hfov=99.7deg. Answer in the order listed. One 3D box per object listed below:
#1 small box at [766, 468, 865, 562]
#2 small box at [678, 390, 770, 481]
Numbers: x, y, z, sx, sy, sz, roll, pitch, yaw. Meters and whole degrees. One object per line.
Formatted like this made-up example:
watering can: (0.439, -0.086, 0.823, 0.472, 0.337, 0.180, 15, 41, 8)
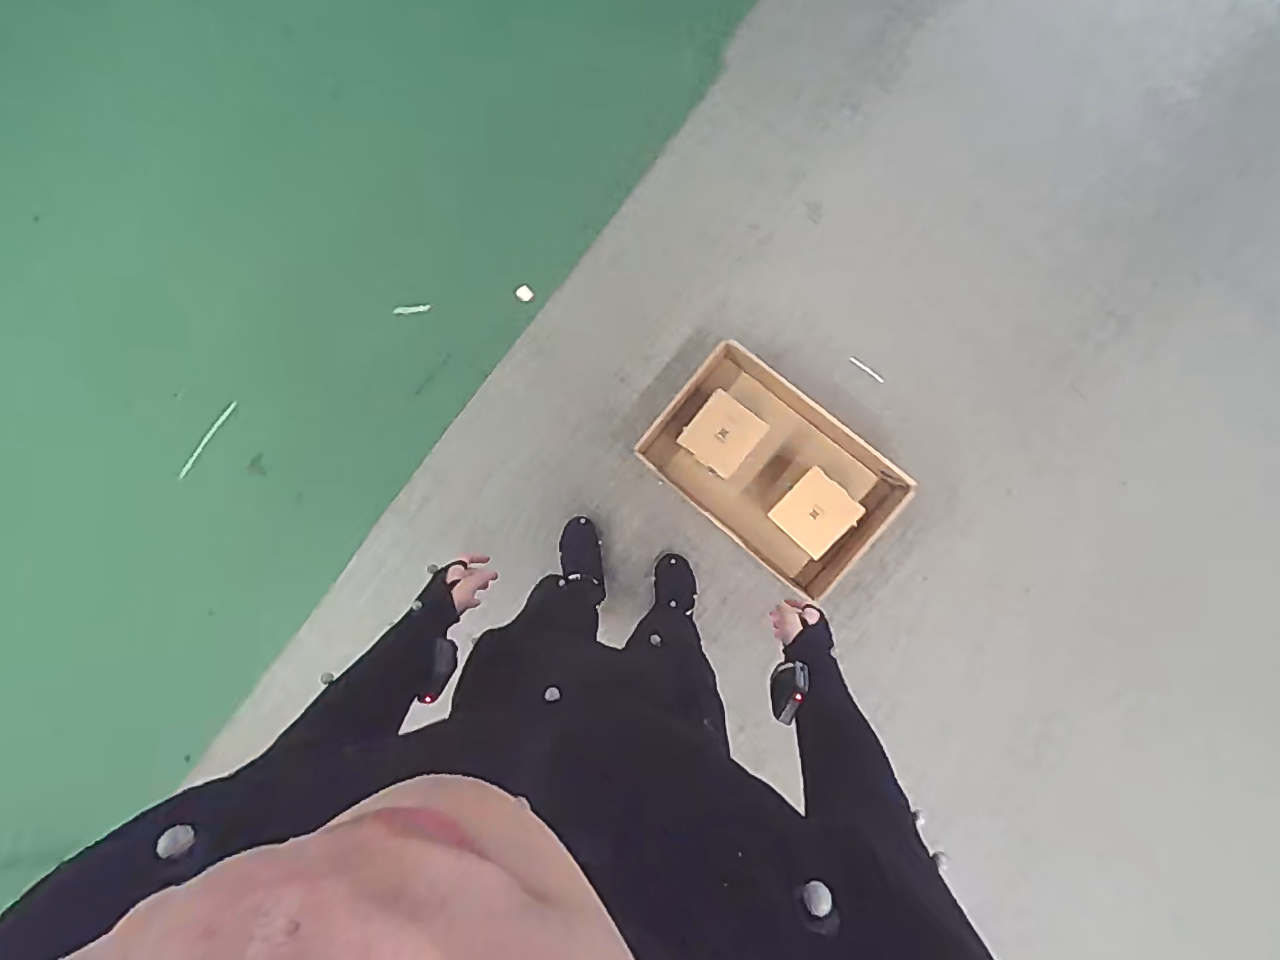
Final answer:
small box: (0.444, 0.090, 1.403, 0.168, 0.176, 0.179, 44, 94, 7)
small box: (0.221, -0.110, 1.438, 0.168, 0.176, 0.179, 40, 93, 5)
